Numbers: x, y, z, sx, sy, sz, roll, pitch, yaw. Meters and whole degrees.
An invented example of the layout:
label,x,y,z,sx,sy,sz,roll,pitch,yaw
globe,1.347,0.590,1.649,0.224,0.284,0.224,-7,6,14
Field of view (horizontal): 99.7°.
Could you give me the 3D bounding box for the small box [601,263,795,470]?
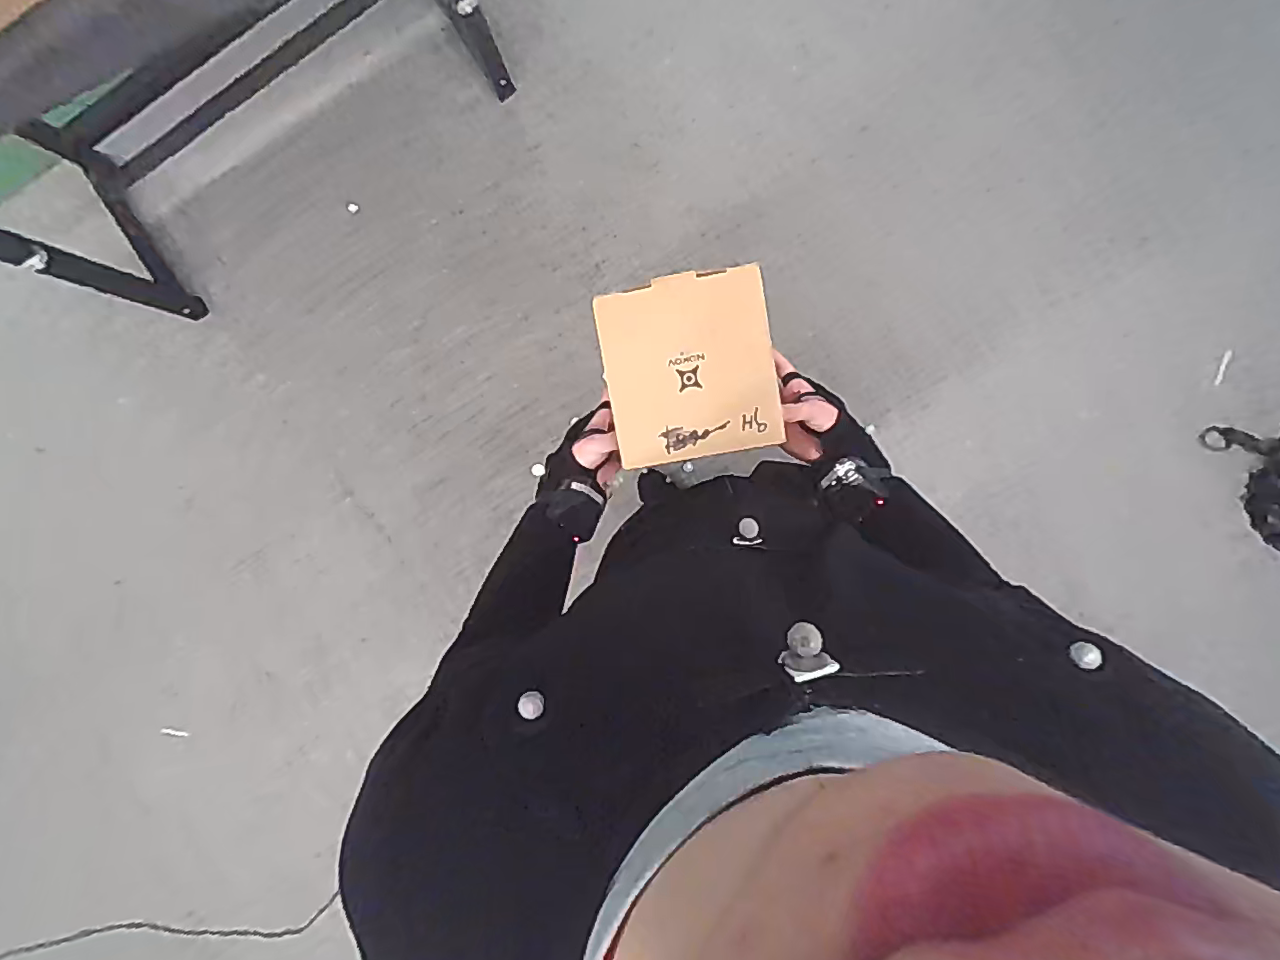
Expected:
label,x,y,z,sx,sy,sz,roll,pitch,yaw
small box,0.064,-0.114,0.606,0.168,0.176,0.179,-11,94,8
